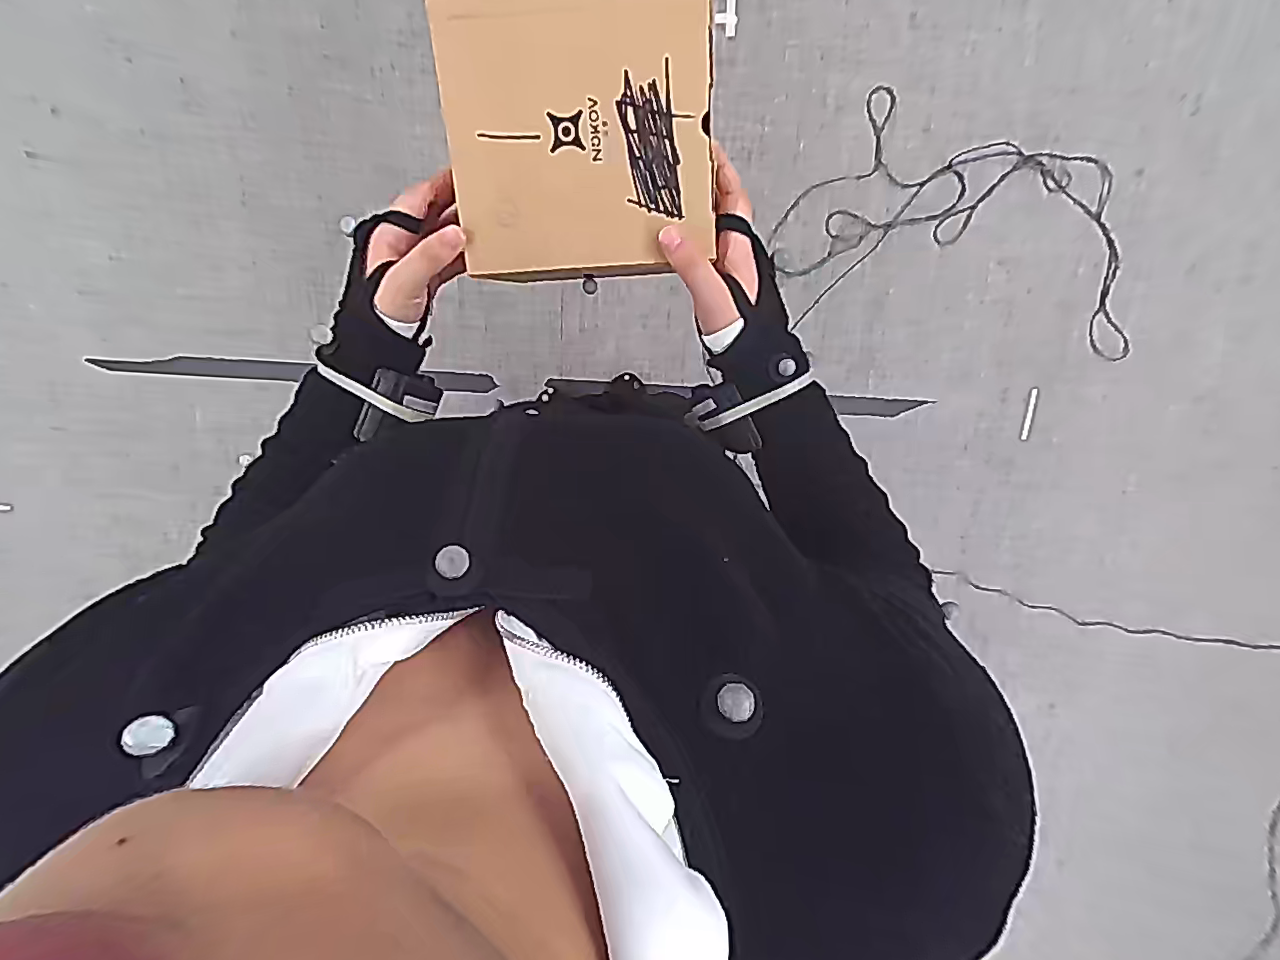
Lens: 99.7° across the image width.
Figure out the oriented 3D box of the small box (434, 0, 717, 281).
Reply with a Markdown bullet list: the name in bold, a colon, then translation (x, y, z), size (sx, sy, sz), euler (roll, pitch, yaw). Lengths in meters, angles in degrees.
- **small box**: translation (-0.037, -0.252, 0.431), size (0.179, 0.176, 0.168), euler (-3, 108, 2)
